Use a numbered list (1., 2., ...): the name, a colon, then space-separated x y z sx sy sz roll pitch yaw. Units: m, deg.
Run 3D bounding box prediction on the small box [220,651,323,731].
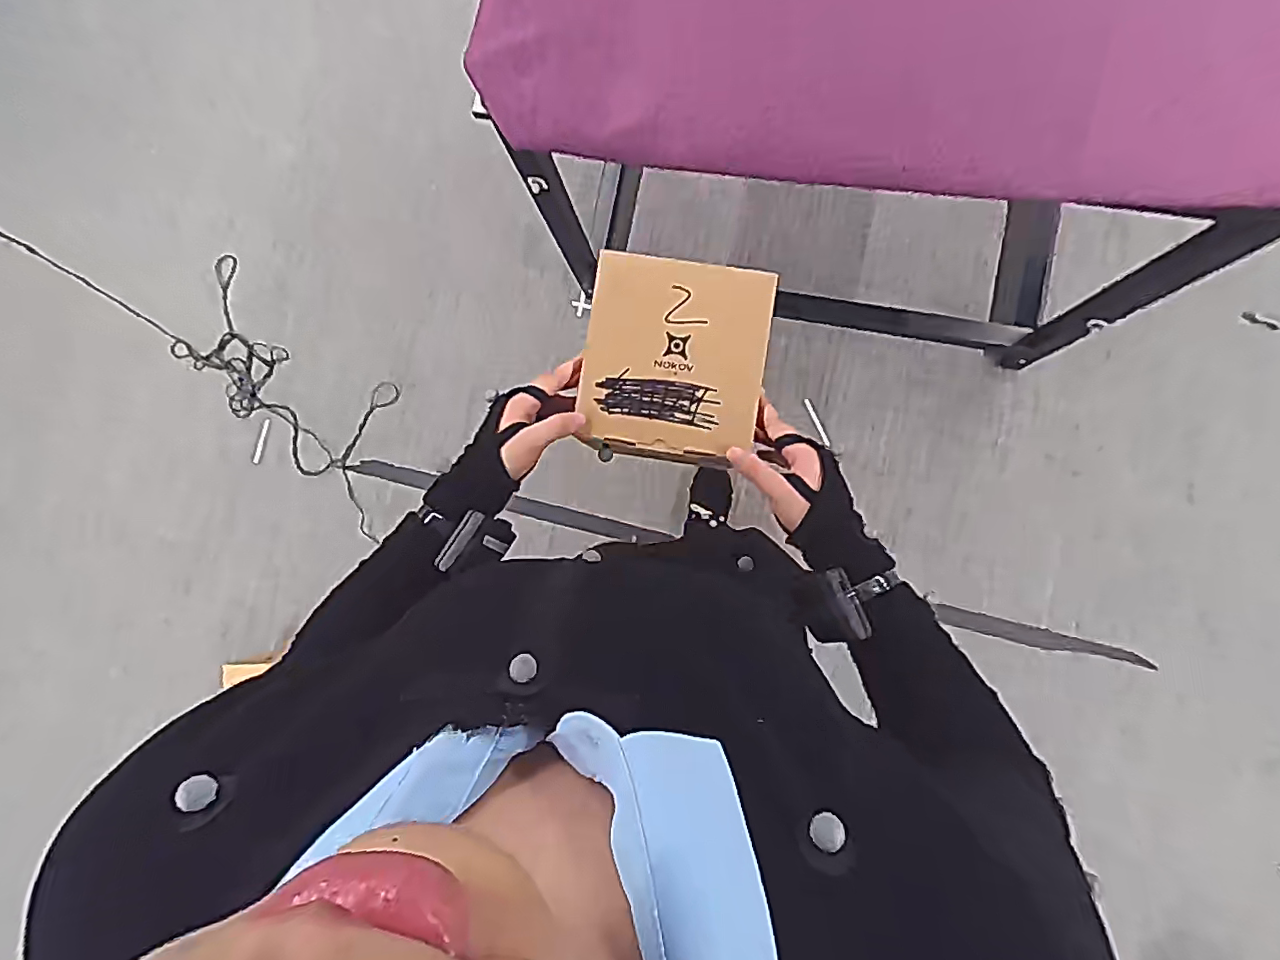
1. small box: -0.996 0.568 1.475 0.179 0.176 0.168 -3 85 6
